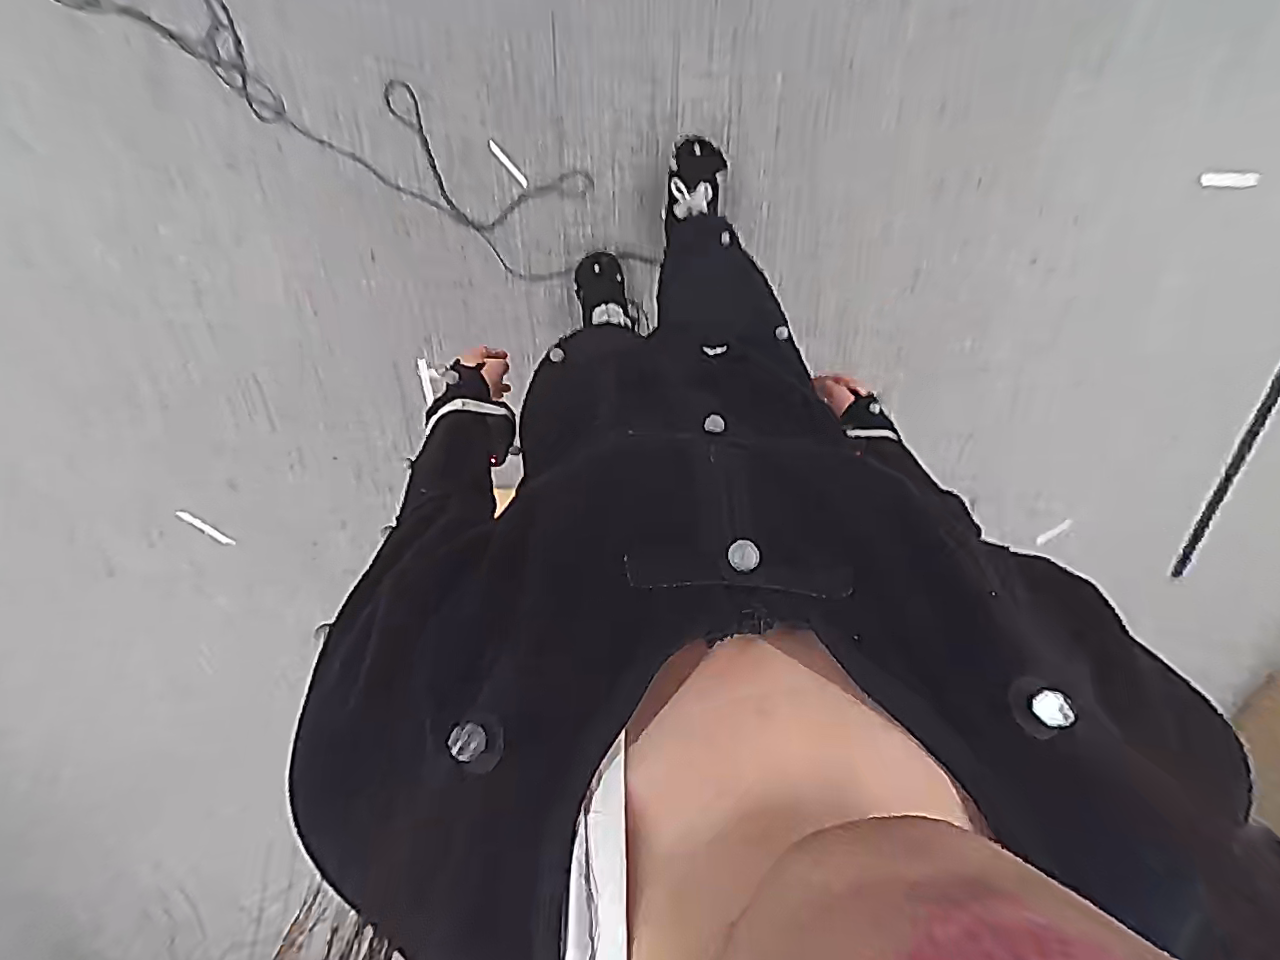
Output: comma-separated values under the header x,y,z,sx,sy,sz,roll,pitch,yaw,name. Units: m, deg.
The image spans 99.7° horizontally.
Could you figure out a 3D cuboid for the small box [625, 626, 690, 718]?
x,y,z,sx,sy,sz,roll,pitch,yaw,name
0.049,0.550,1.559,0.168,0.176,0.179,-7,116,-3,small box
